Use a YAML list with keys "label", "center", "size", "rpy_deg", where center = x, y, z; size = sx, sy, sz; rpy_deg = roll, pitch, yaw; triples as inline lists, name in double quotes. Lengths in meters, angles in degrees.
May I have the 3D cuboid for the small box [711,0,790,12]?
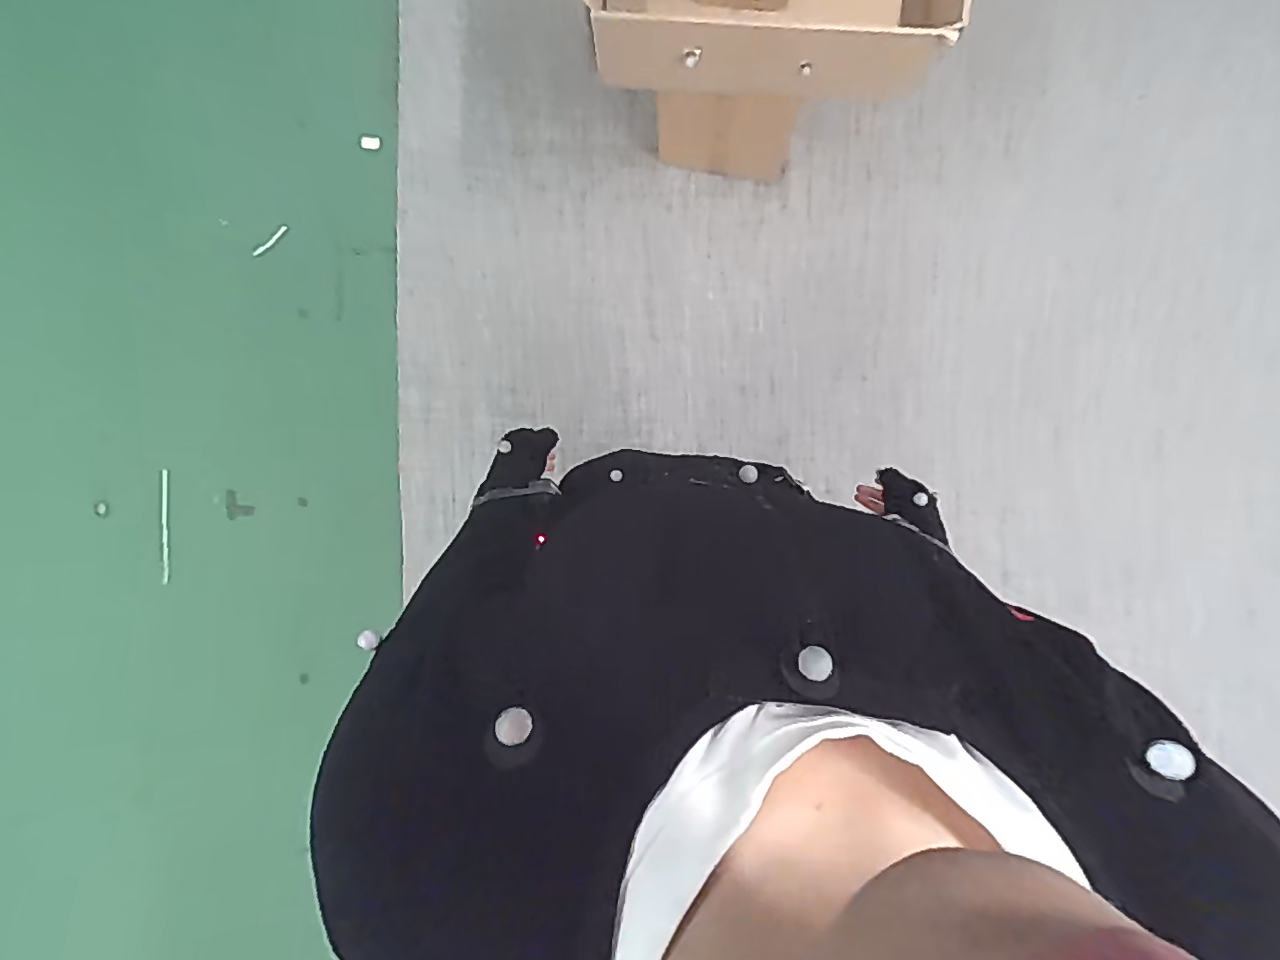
- label: "small box"
  center: [0.199, -0.948, 0.915]
  size: [0.168, 0.176, 0.179]
  rpy_deg: [3, 91, -2]
